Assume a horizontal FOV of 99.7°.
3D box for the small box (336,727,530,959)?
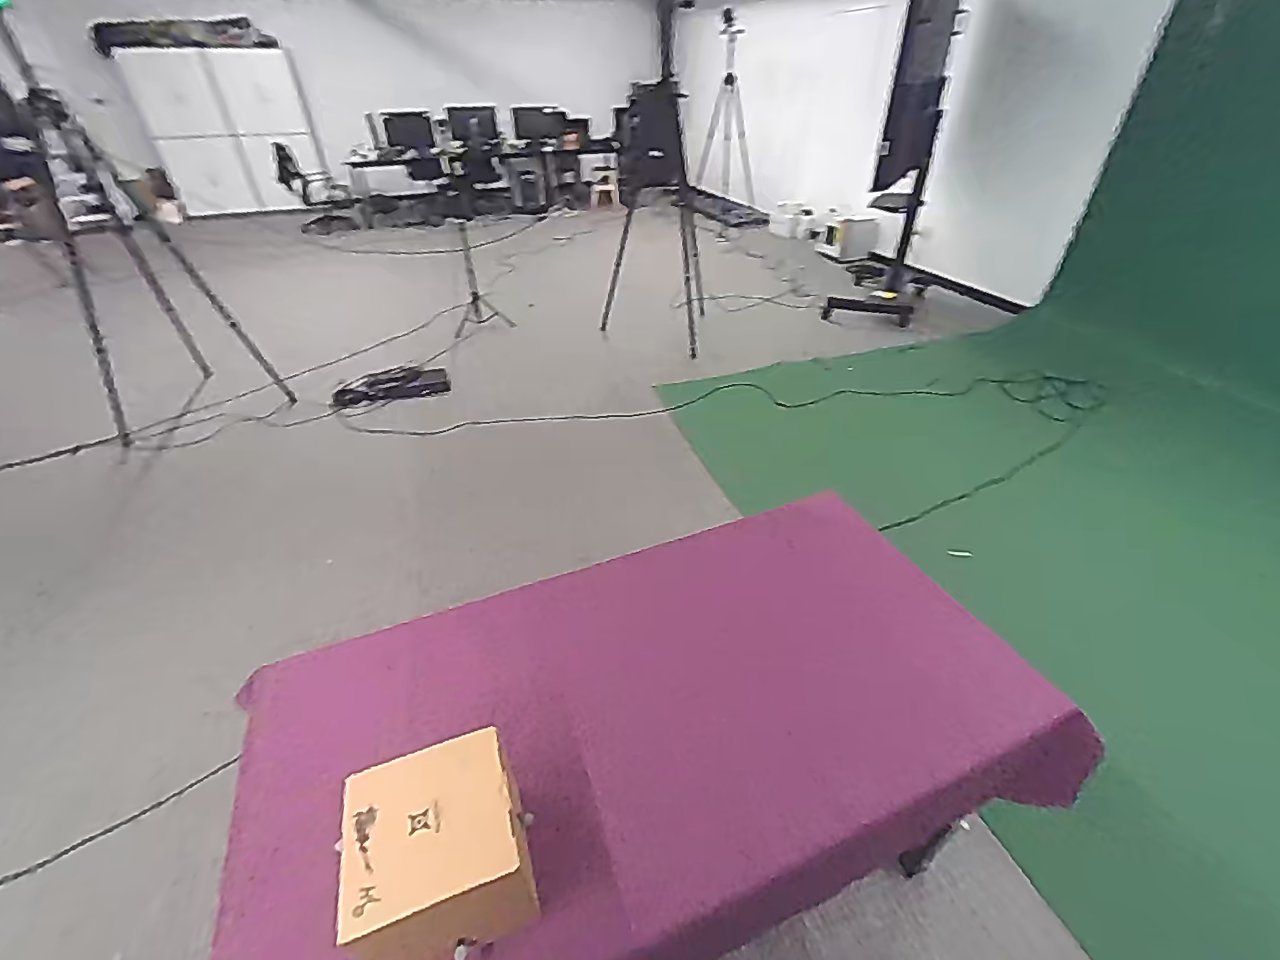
[{"bbox_3d":[-0.232,0.434,0.638,0.179,0.176,0.168,-13,38,-16],"label":"small box"}]
